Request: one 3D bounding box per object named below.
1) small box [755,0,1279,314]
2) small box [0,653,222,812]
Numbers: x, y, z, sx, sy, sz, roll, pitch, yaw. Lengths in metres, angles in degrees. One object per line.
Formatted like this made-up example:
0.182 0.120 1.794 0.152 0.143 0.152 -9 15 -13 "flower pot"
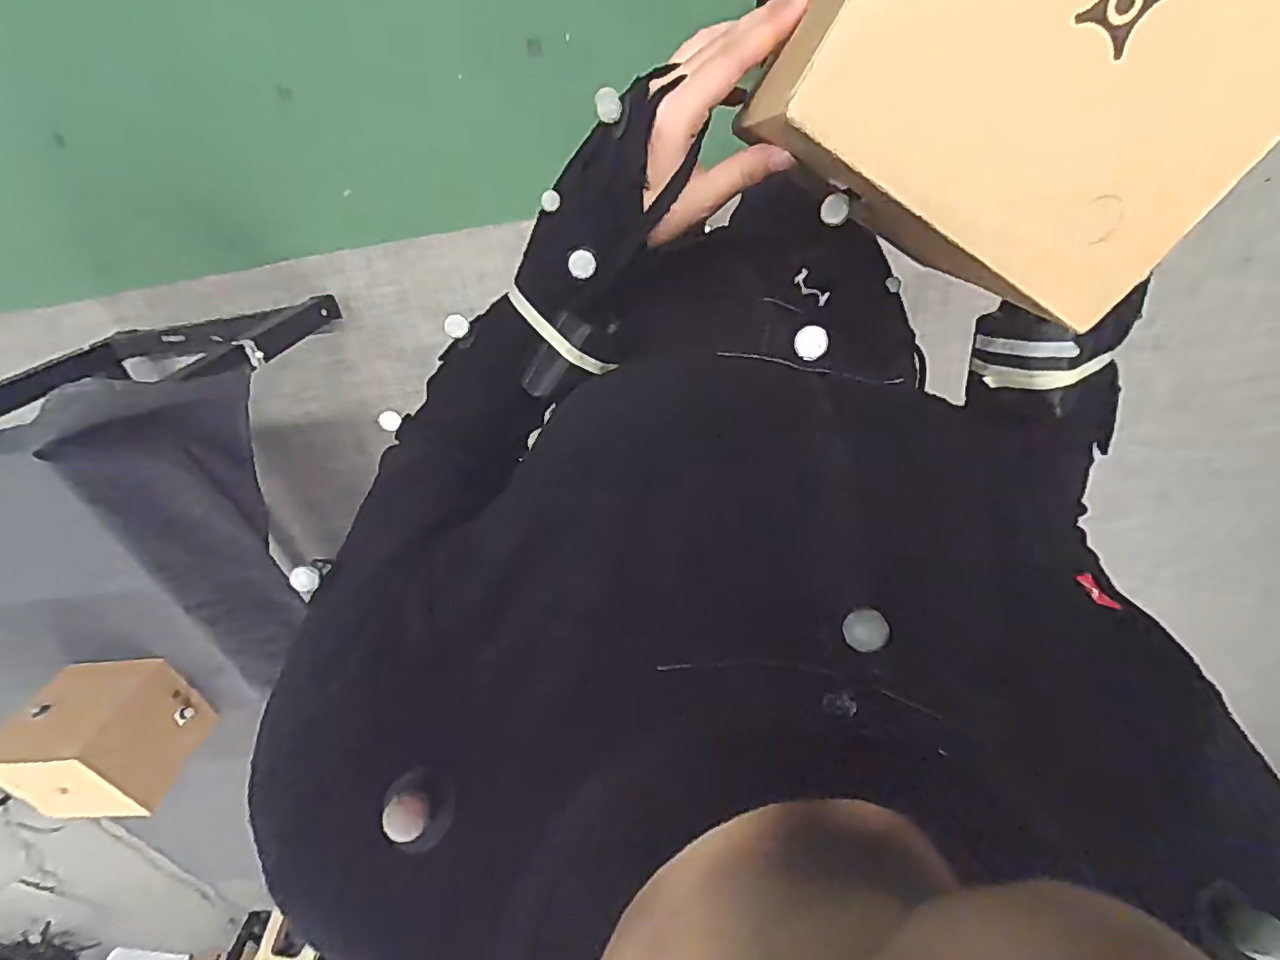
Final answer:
0.167 -0.208 0.238 0.168 0.176 0.179 26 118 -13 "small box"
-0.826 0.393 0.849 0.179 0.176 0.168 -6 126 6 "small box"
